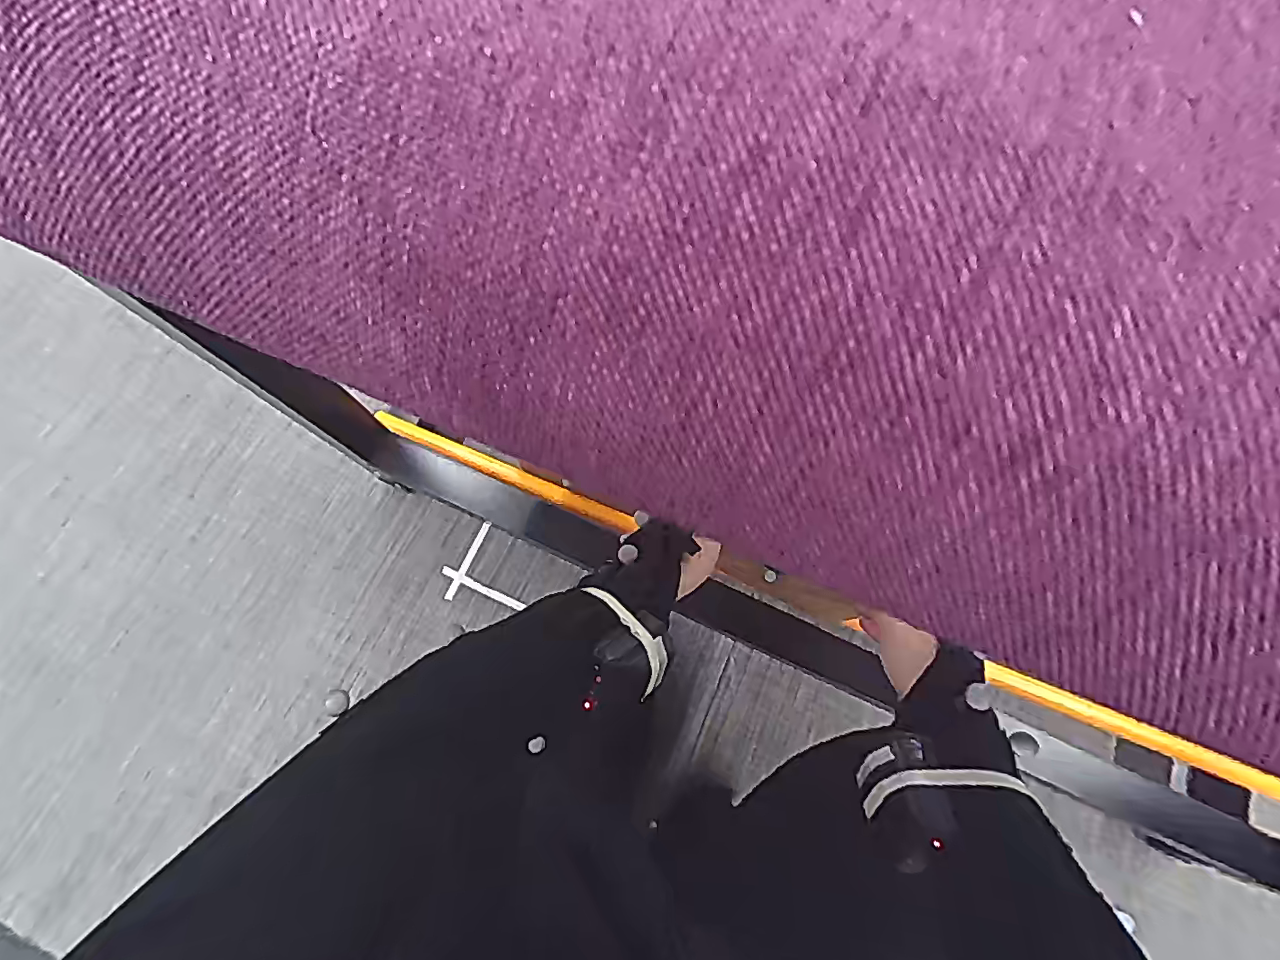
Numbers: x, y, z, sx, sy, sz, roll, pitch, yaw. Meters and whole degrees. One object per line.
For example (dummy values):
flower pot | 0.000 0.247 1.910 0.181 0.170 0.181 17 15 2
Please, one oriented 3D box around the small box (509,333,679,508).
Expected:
small box | -0.056 -0.071 0.749 0.179 0.176 0.168 16 73 4

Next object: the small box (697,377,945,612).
small box | 0.173 0.028 0.571 0.179 0.176 0.168 26 73 7
